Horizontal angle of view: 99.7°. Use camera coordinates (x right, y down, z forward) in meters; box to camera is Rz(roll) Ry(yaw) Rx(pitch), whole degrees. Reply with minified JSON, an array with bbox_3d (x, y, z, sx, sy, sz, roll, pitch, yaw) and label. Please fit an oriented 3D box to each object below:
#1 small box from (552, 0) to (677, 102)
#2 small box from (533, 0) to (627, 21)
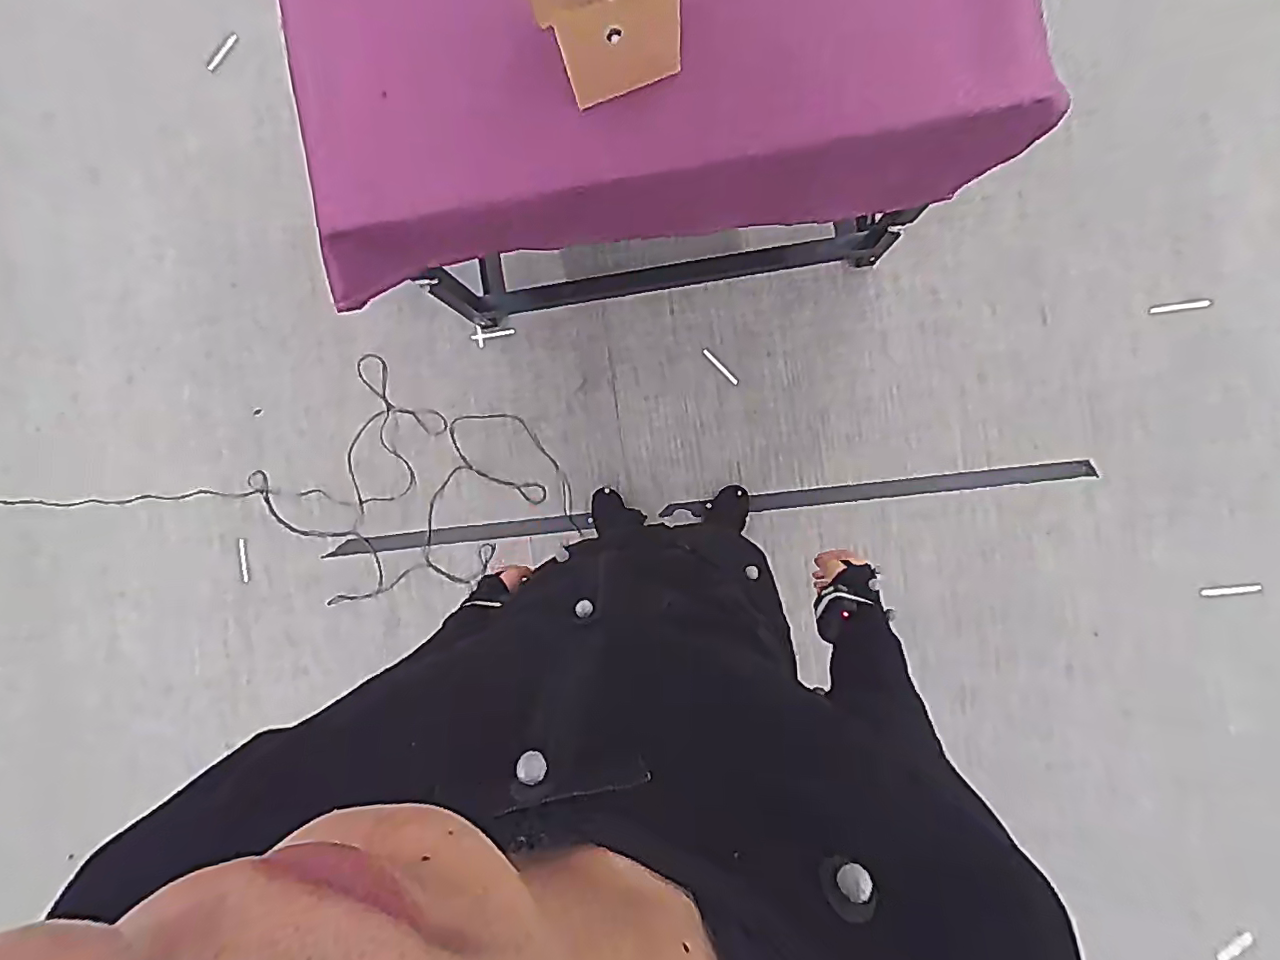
[{"bbox_3d":[-0.048,-0.714,0.804,0.179,0.176,0.168,-18,90,4],"label":"small box"},{"bbox_3d":[-0.083,-0.714,0.642,0.168,0.176,0.179,-13,90,5],"label":"small box"}]
